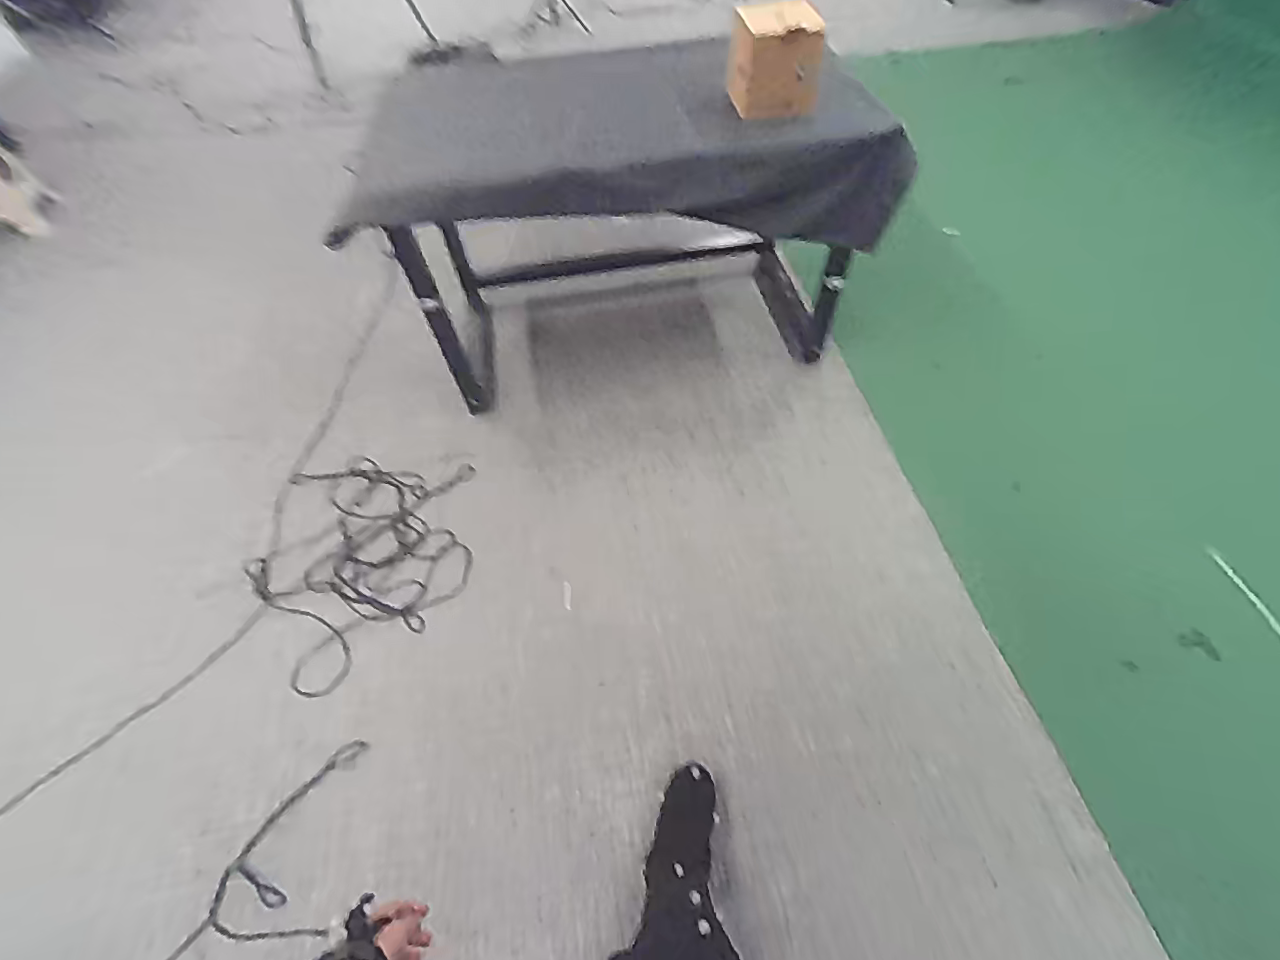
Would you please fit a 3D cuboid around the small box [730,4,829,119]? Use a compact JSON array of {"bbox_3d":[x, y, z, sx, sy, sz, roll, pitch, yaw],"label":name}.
[{"bbox_3d":[0.308,-0.946,1.232,0.168,0.176,0.179,-7,54,-3],"label":"small box"}]
